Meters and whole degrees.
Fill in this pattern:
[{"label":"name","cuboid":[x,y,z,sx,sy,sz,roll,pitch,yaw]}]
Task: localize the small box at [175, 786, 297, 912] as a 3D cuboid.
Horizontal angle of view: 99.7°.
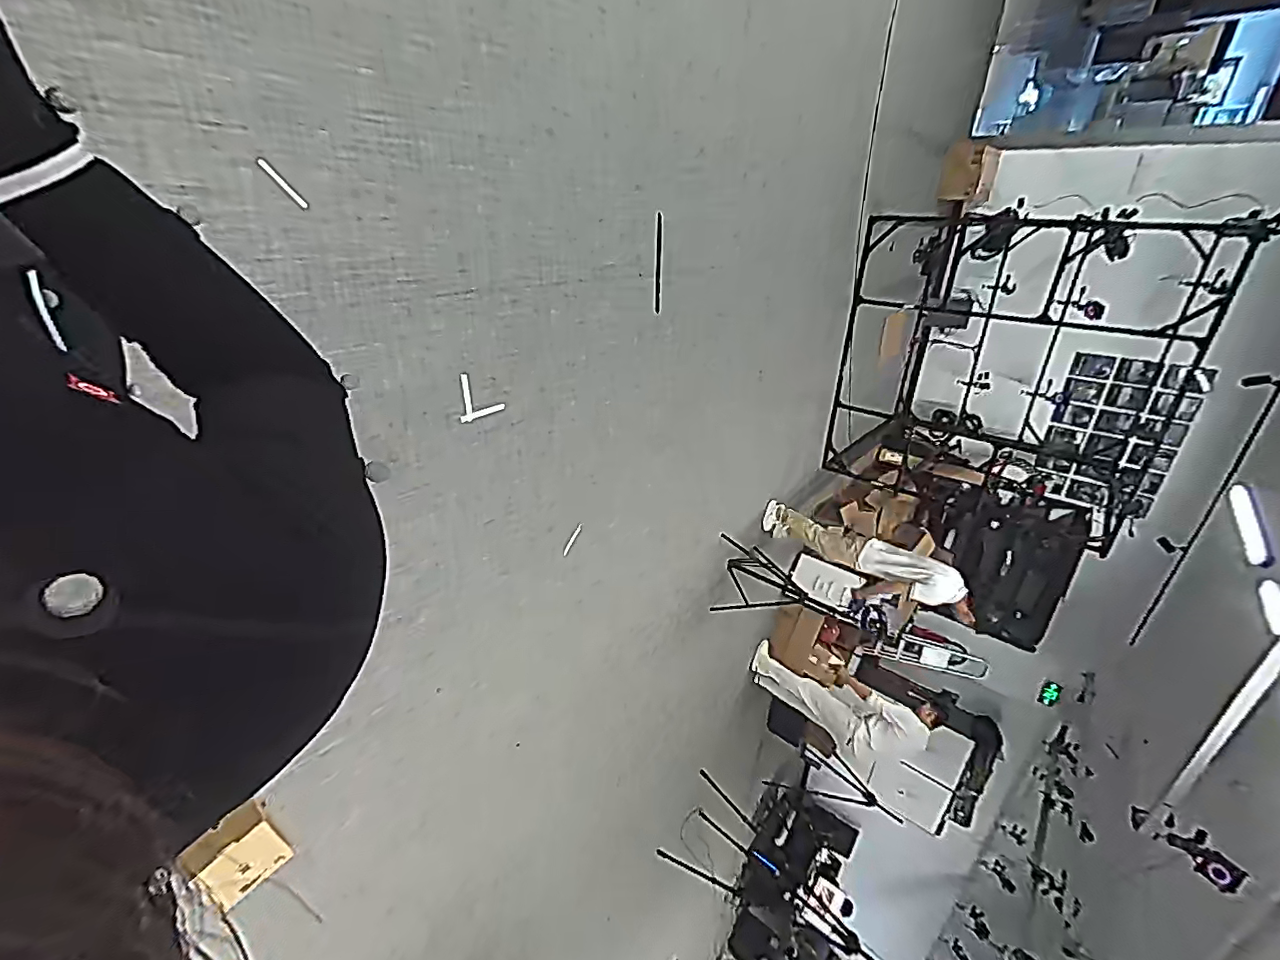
[{"label":"small box","cuboid":[-1.004,0.903,1.343,0.168,0.176,0.179,-35,133,-38]}]
